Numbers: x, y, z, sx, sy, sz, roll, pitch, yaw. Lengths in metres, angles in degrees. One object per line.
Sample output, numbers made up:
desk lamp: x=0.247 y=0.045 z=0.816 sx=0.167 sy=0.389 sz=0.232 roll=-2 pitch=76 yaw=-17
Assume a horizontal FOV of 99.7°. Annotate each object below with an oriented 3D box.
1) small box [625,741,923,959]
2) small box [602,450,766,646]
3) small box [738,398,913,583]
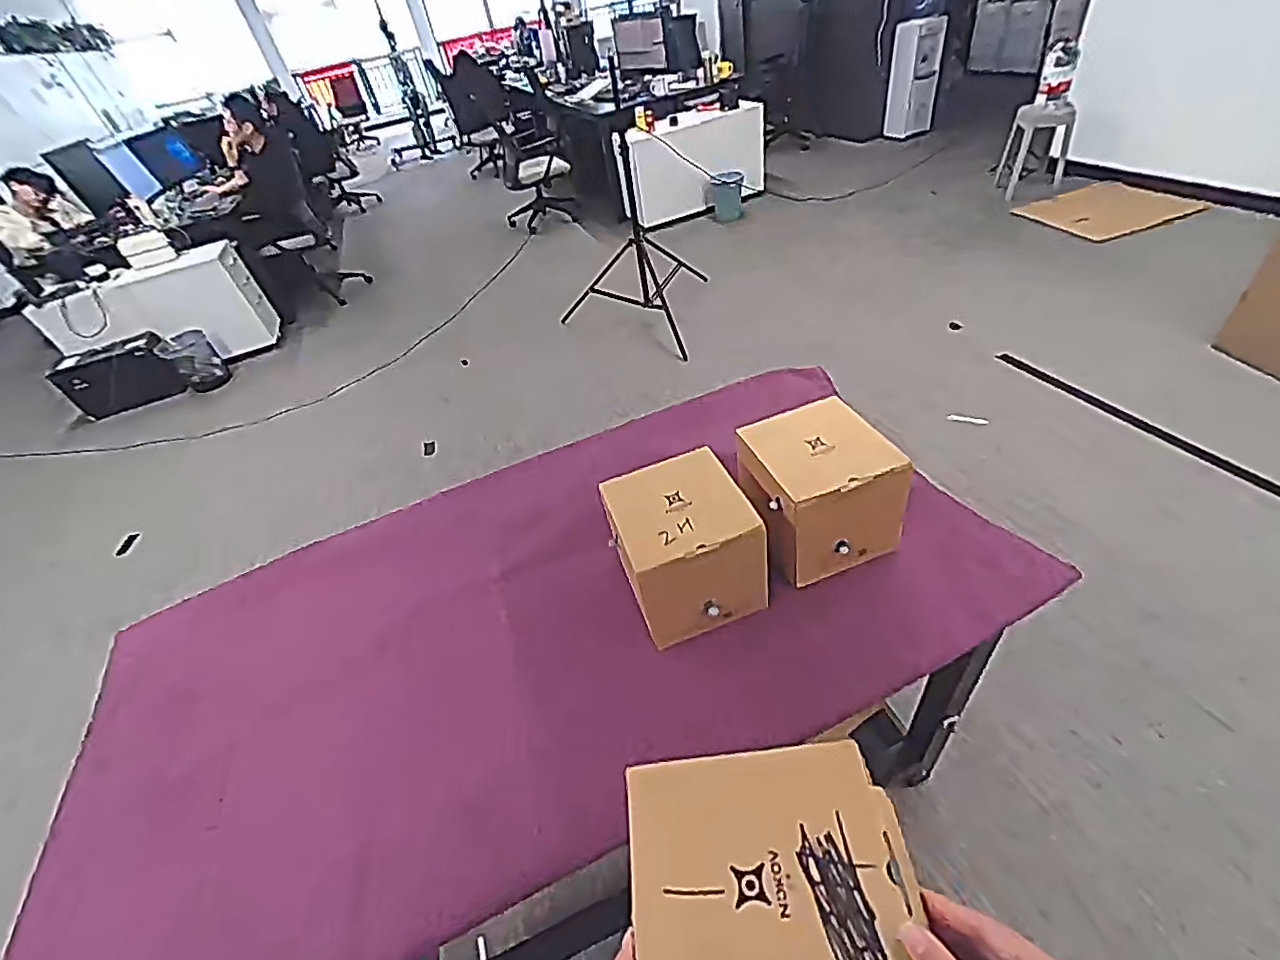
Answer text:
small box: x=0.090 y=0.318 z=0.407 sx=0.179 sy=0.176 sz=0.168 roll=-9 pitch=44 yaw=4
small box: x=0.060 y=0.092 z=0.743 sx=0.168 sy=0.176 sz=0.179 roll=-20 pitch=42 yaw=-7
small box: x=0.253 y=0.015 z=0.777 sx=0.168 sy=0.176 sz=0.179 roll=-20 pitch=41 yaw=-7
